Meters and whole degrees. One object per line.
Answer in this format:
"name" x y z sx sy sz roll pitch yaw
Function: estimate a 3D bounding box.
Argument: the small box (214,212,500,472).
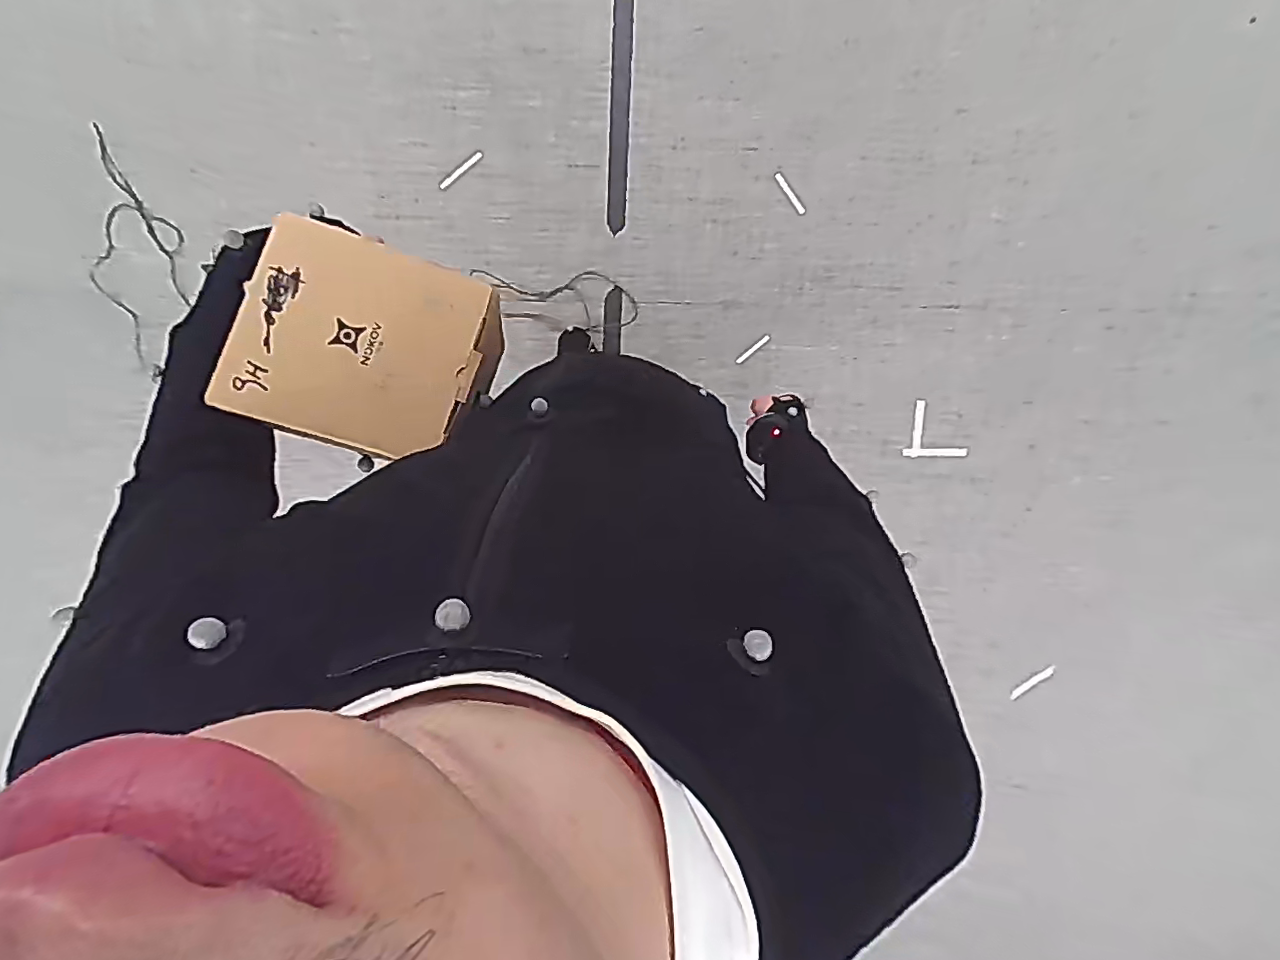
"small box" -0.241 -0.109 0.517 0.179 0.176 0.168 17 83 -11
